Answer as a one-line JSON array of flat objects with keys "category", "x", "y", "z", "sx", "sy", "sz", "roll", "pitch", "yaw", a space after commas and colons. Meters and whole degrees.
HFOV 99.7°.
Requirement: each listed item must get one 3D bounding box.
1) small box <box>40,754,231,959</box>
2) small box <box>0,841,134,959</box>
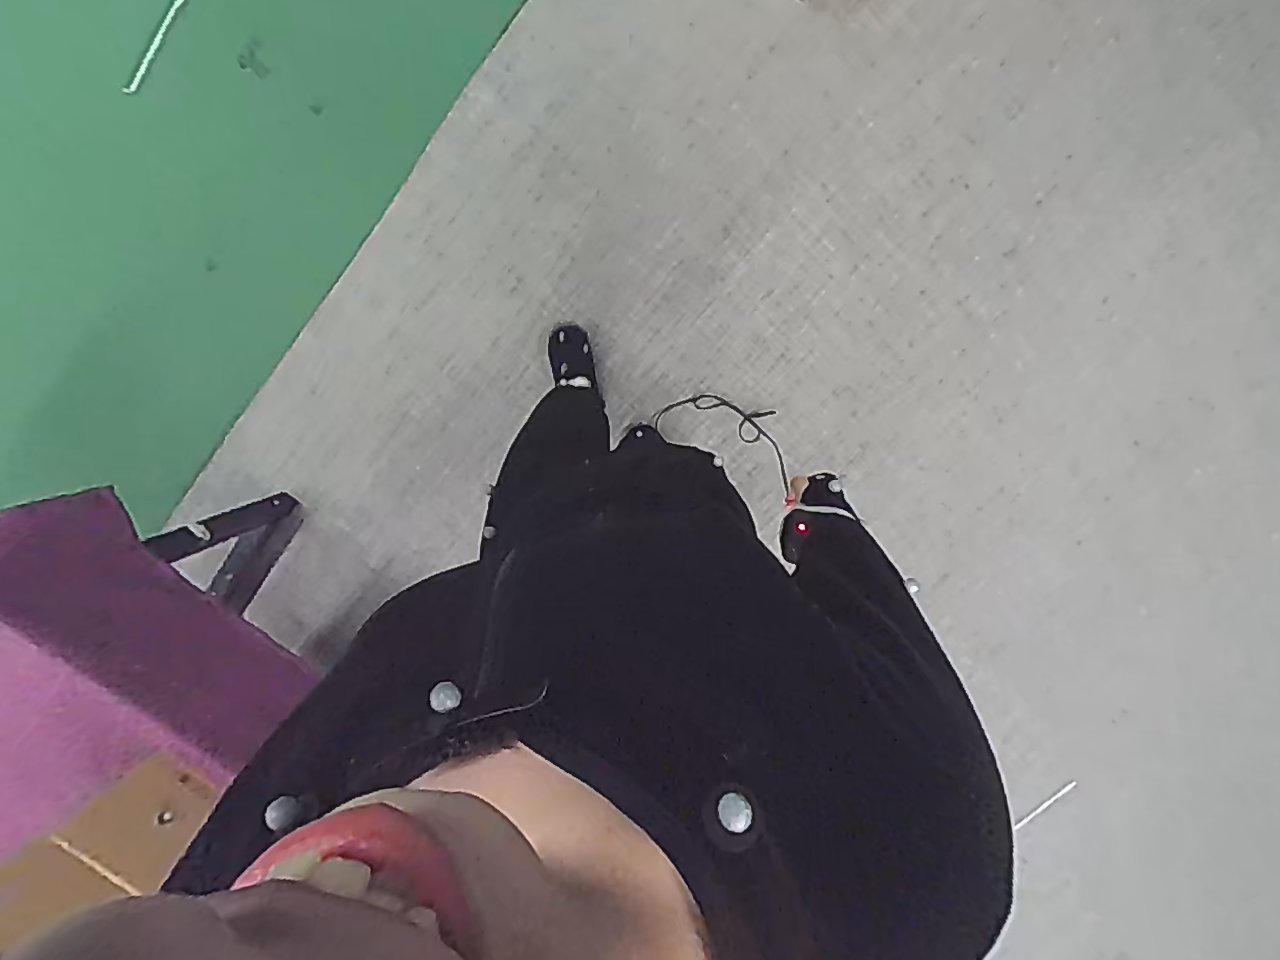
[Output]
[{"category": "small box", "x": -0.773, "y": 0.561, "z": 0.815, "sx": 0.168, "sy": 0.176, "sz": 0.179, "roll": 42, "pitch": 101, "yaw": -6}, {"category": "small box", "x": -0.789, "y": 0.594, "z": 0.654, "sx": 0.179, "sy": 0.176, "sz": 0.168, "roll": 42, "pitch": 101, "yaw": -6}]
